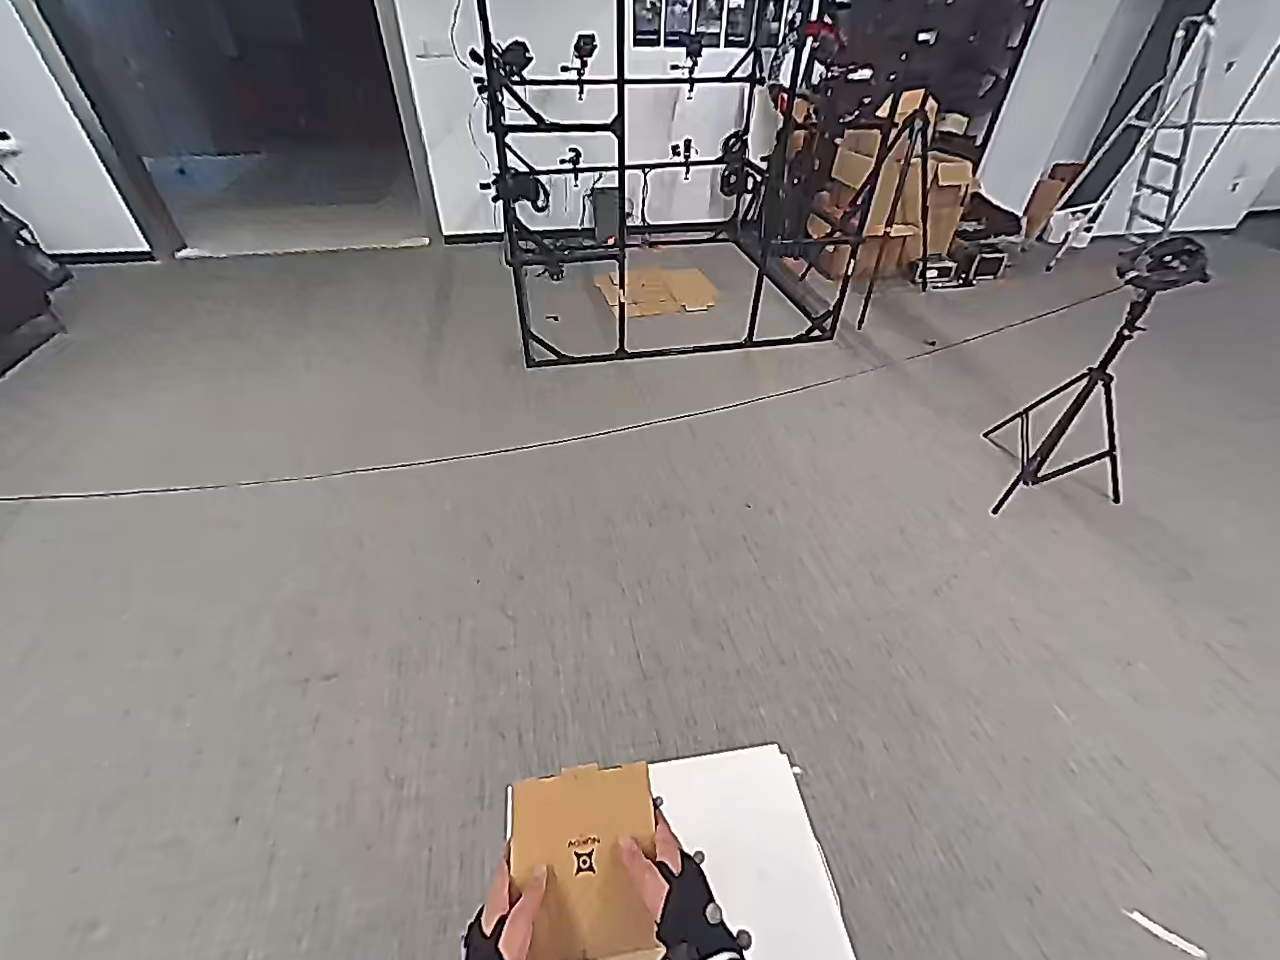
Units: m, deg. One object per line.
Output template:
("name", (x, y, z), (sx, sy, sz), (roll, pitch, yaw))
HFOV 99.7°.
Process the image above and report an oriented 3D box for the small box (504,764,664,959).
("small box", (-0.063, 0.467, 0.655), (0.168, 0.176, 0.179), (-5, 49, -5))
